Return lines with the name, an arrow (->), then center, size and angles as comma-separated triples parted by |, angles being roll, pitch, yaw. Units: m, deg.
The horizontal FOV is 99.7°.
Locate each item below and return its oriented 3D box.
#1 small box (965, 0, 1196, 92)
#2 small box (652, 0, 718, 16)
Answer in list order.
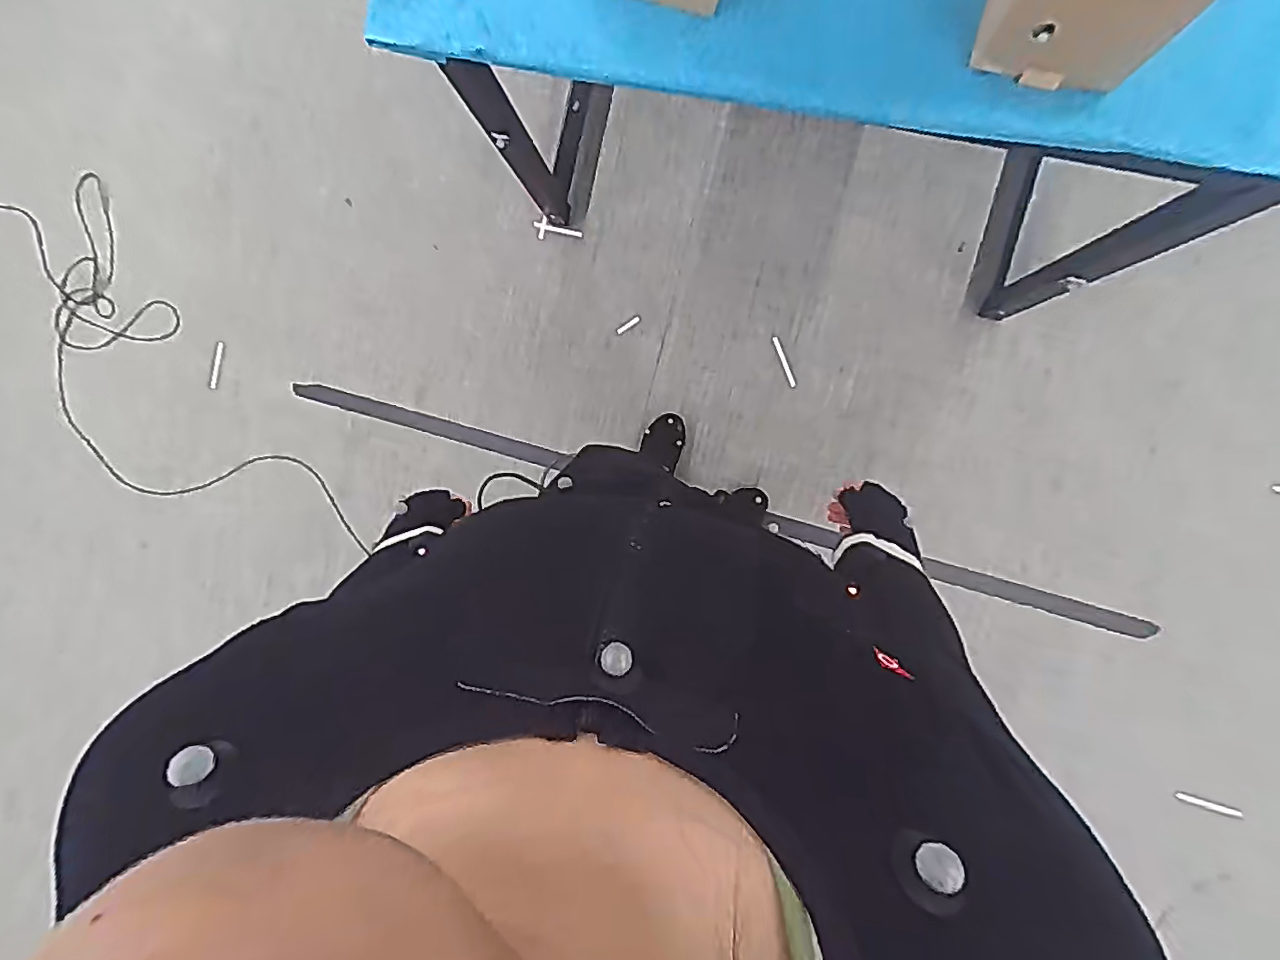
small box -> 0.483, -0.559, 0.565 | 0.168, 0.176, 0.179 | 14, 95, 5
small box -> 0.034, -0.690, 0.605 | 0.168, 0.176, 0.179 | 19, 97, 4
